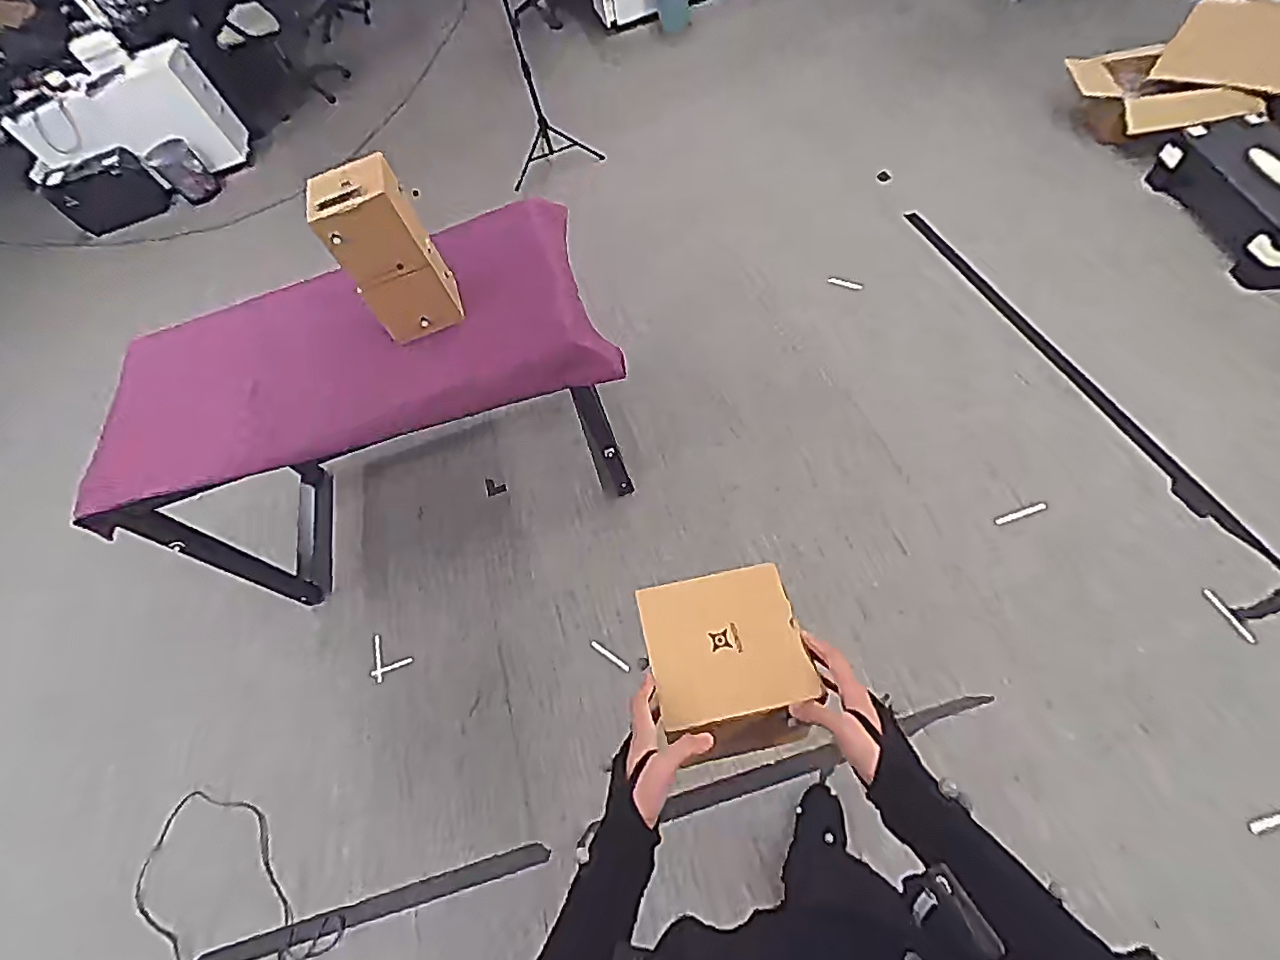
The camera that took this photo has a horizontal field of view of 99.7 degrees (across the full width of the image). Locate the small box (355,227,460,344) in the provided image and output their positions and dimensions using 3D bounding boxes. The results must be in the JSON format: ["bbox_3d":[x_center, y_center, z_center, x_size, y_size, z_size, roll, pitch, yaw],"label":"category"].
[{"bbox_3d":[-0.546,-0.458,1.290,0.179,0.176,0.168,-22,58,-2],"label":"small box"}]

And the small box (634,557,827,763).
[{"bbox_3d":[0.098,0.220,0.651,0.179,0.176,0.168,-11,50,-5],"label":"small box"}]
